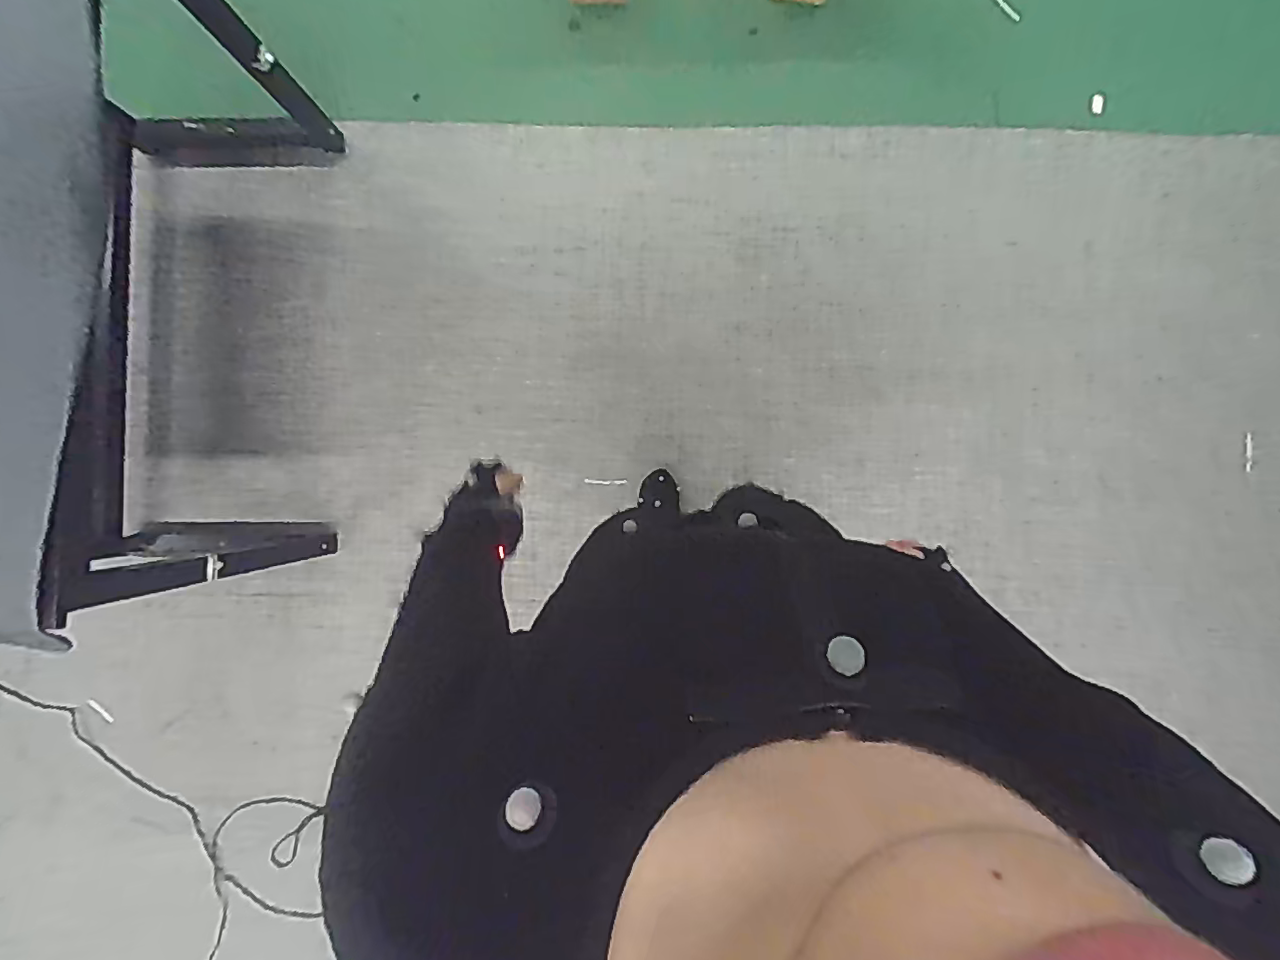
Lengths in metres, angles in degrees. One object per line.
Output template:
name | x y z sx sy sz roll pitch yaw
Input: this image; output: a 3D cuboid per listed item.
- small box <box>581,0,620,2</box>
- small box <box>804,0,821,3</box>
small box | -0.117 -1.410 1.422 0.179 0.176 0.168 0 91 1
small box | 0.437 -1.414 1.419 0.168 0.176 0.179 9 90 0
